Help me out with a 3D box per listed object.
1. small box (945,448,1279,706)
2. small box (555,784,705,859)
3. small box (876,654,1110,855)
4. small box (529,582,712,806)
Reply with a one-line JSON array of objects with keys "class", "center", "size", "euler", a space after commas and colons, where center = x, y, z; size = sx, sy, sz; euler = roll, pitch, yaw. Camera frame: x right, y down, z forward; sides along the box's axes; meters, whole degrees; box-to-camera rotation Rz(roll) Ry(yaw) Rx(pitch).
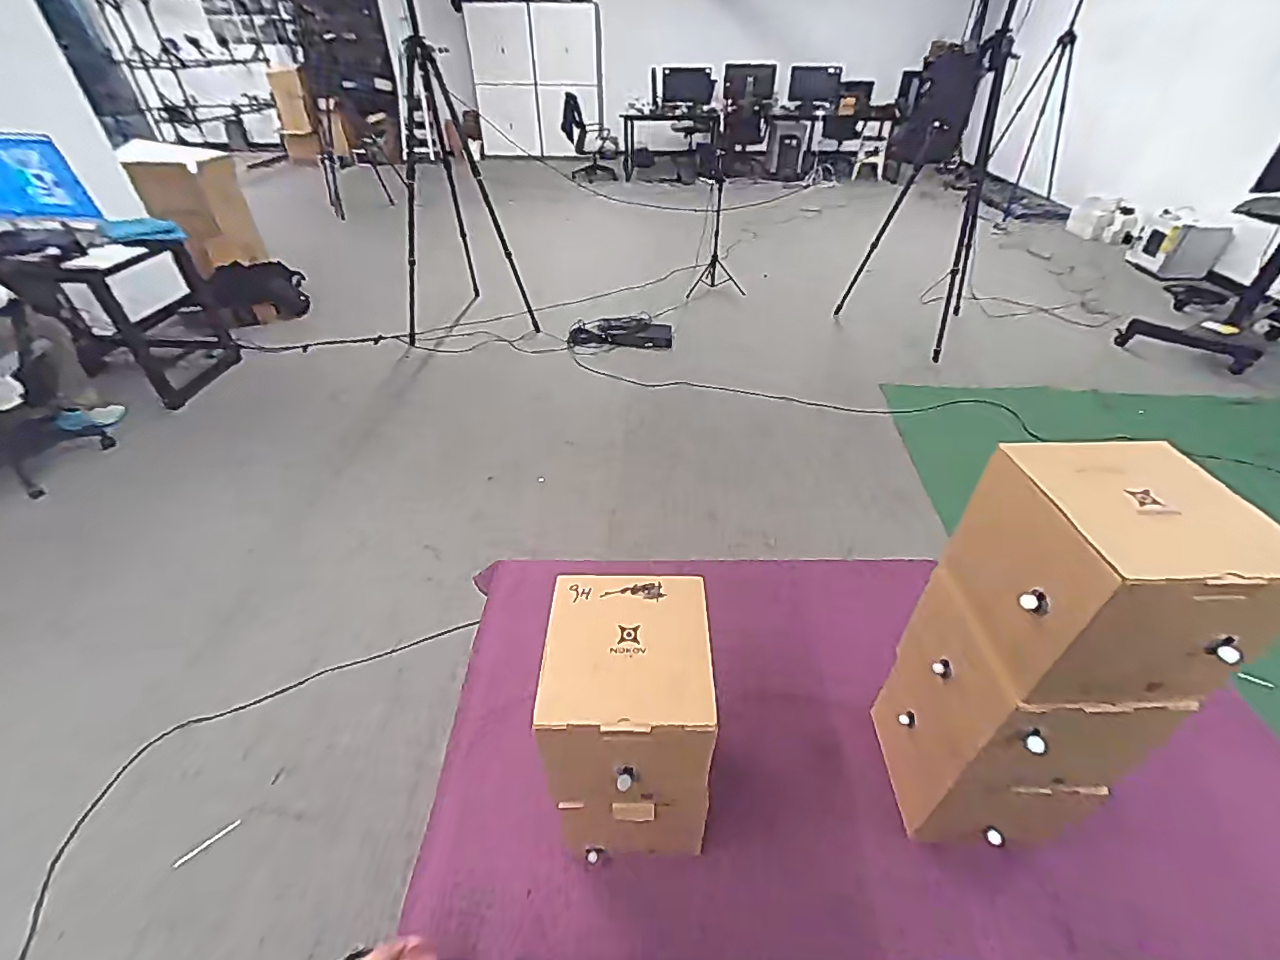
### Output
[{"class": "small box", "center": [0.419, 0.088, 0.495], "size": [0.168, 0.176, 0.179], "euler": [0, 38, 0]}, {"class": "small box", "center": [-0.009, 0.360, 0.688], "size": [0.168, 0.176, 0.179], "euler": [-1, 38, 0]}, {"class": "small box", "center": [0.425, 0.348, 0.694], "size": [0.168, 0.176, 0.179], "euler": [1, 39, 2]}, {"class": "small box", "center": [-0.014, 0.231, 0.586], "size": [0.168, 0.176, 0.179], "euler": [1, 40, 1]}]
